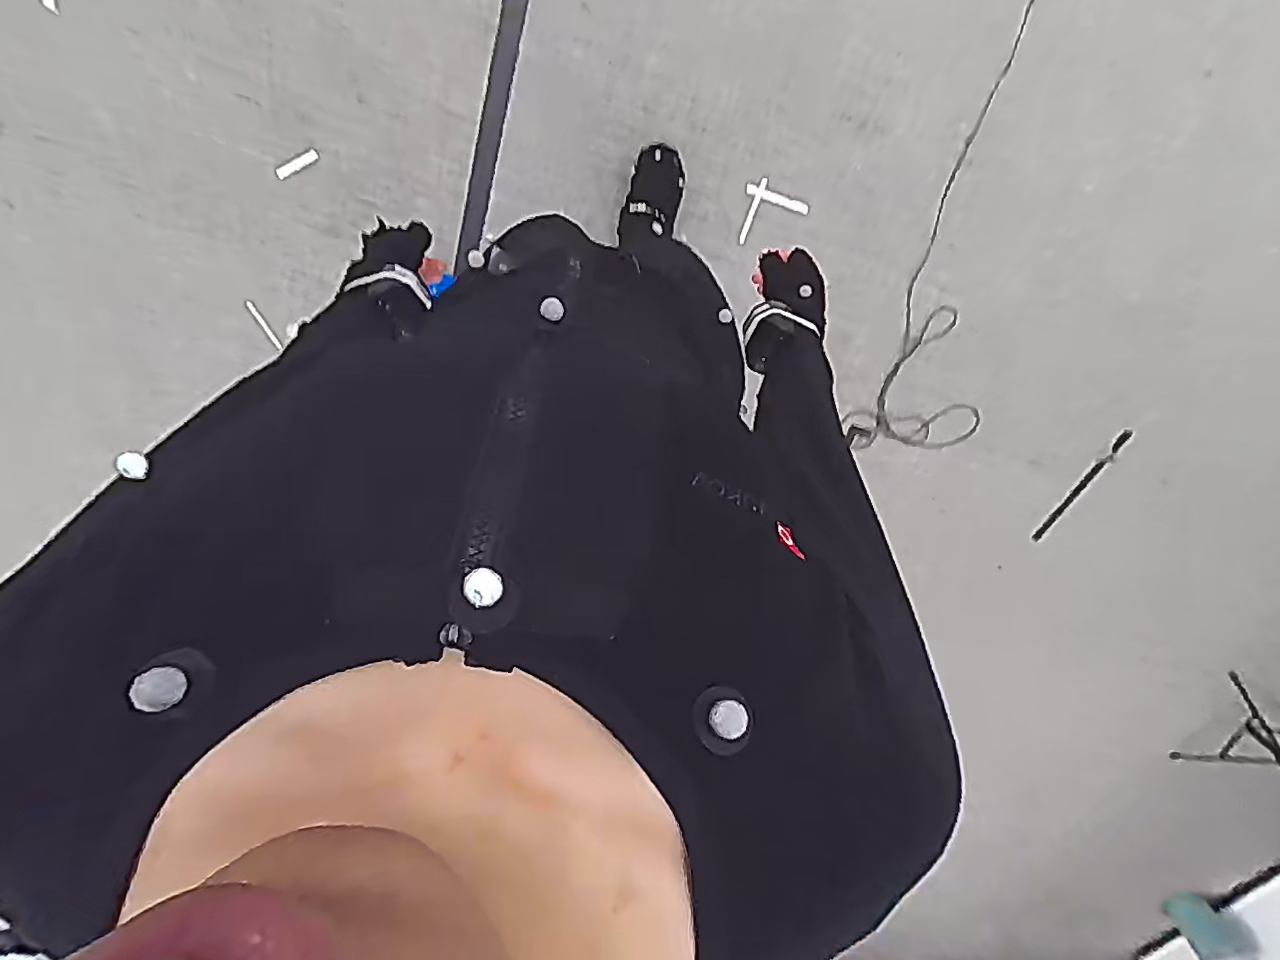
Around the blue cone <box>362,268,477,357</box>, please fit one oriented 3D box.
[{"bbox_3d":[-0.505,-0.337,1.197,0.192,0.380,0.193,14,117,-8],"label":"blue cone"}]
